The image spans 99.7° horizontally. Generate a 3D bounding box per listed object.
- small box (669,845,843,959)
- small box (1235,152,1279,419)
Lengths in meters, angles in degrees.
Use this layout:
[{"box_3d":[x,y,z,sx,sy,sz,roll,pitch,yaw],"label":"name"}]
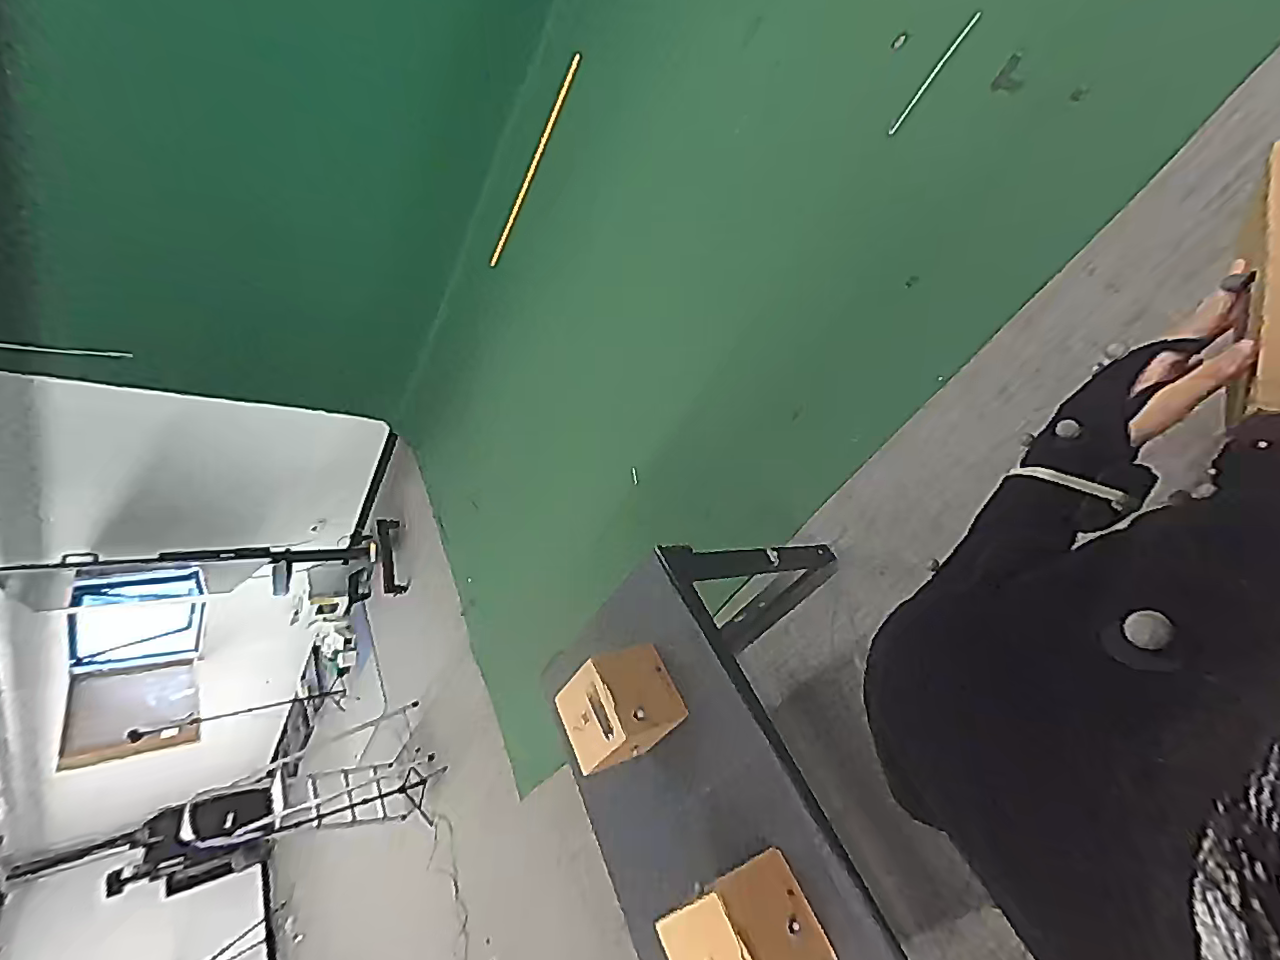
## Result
[{"box_3d":[0.184,0.727,0.864,0.179,0.176,0.168,-55,51,30],"label":"small box"},{"box_3d":[0.509,-0.137,0.341,0.168,0.176,0.179,3,91,43],"label":"small box"}]
